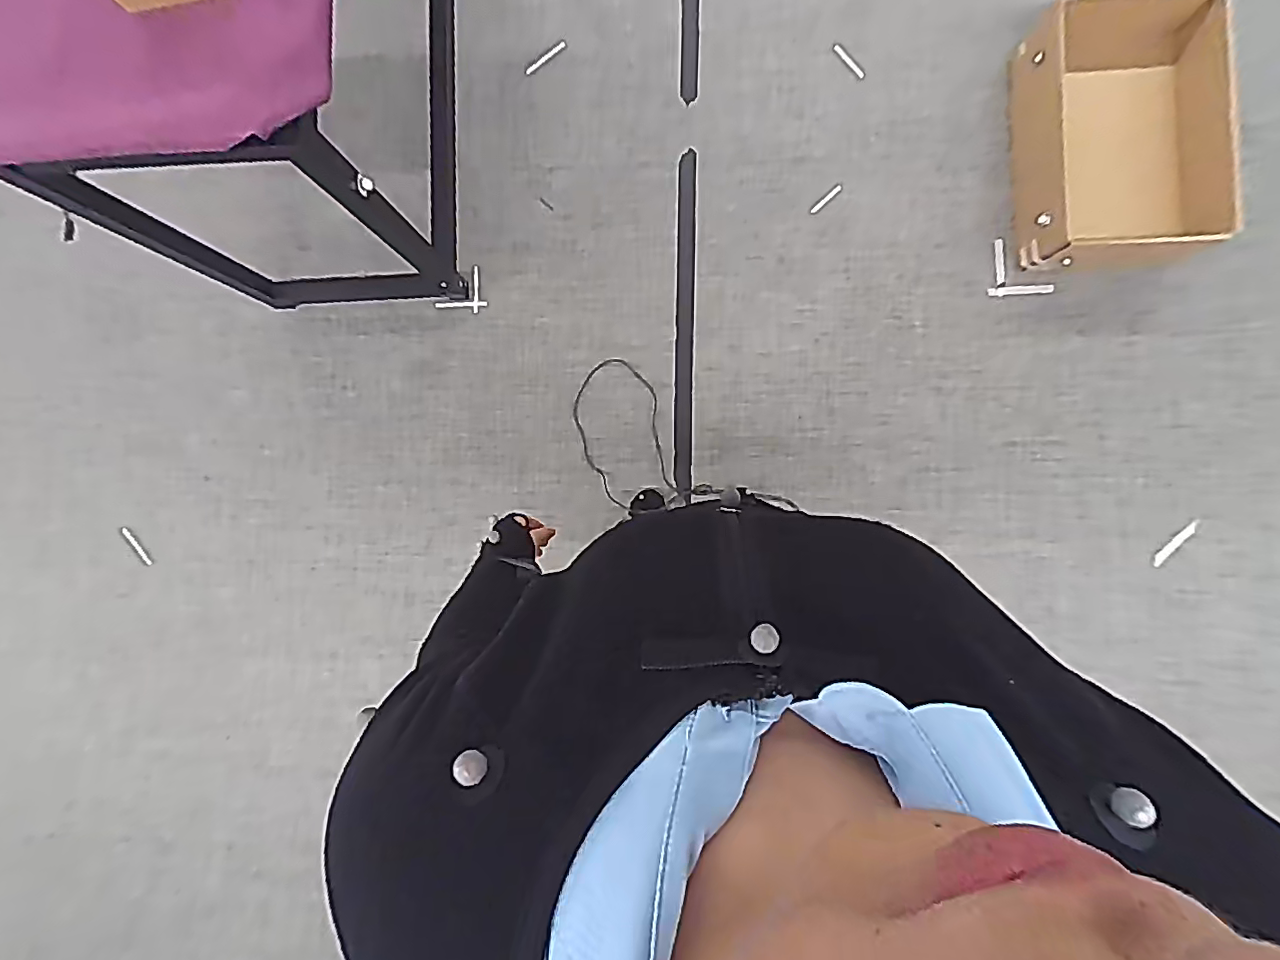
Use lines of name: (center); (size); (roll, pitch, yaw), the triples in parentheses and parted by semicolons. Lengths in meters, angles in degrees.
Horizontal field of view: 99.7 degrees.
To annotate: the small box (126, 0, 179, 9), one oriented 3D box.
small box: (-0.722, -0.825, 0.763); (0.179, 0.176, 0.168); (-9, 88, 3)
